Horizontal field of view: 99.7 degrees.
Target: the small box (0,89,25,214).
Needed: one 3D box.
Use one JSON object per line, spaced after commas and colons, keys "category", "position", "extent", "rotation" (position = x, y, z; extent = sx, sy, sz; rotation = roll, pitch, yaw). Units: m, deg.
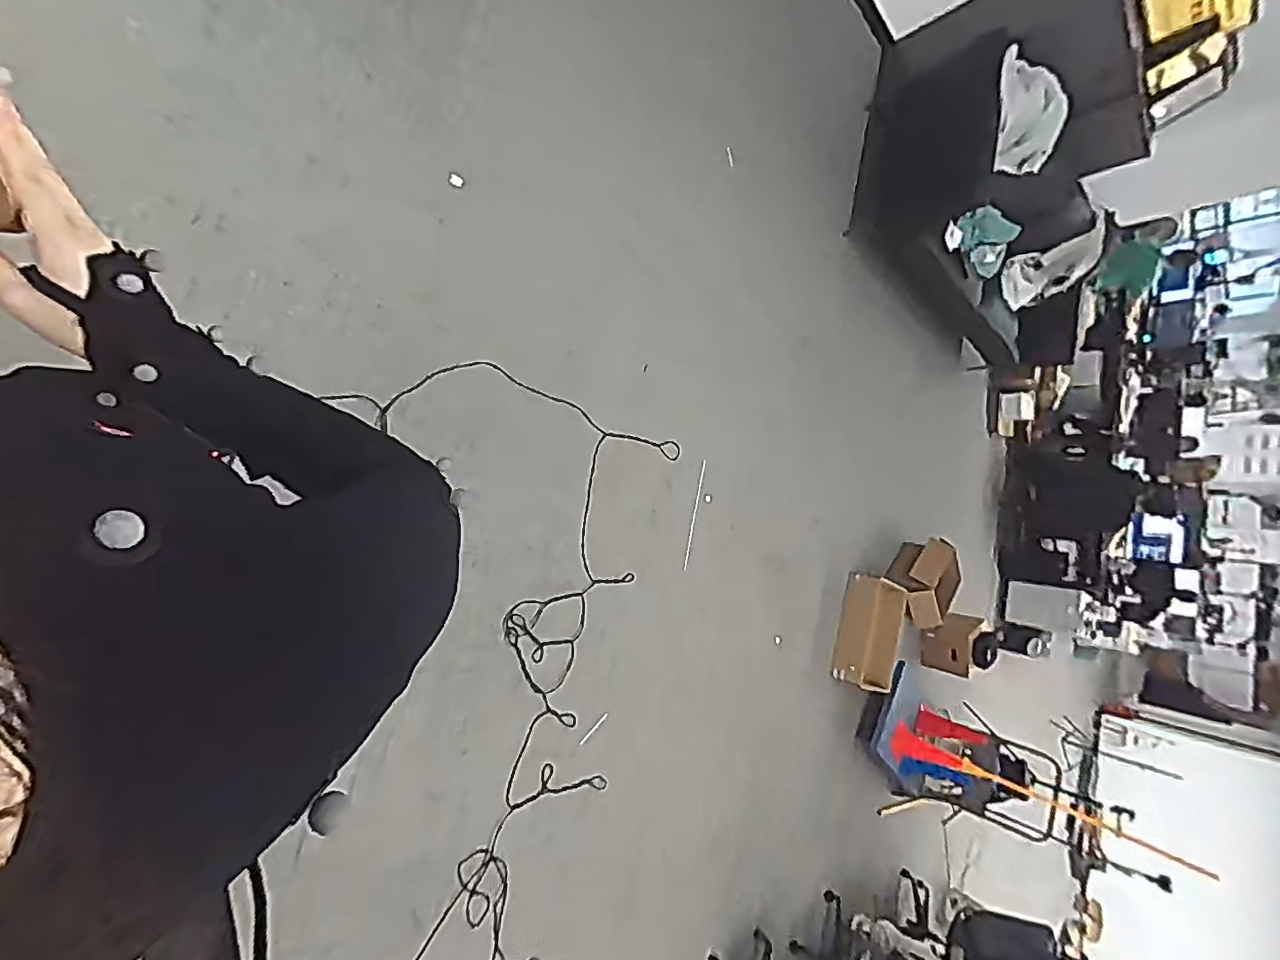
{"category": "small box", "position": [-0.404, -0.228, 0.217], "extent": [0.179, 0.176, 0.168], "rotation": [-13, 96, -43]}
